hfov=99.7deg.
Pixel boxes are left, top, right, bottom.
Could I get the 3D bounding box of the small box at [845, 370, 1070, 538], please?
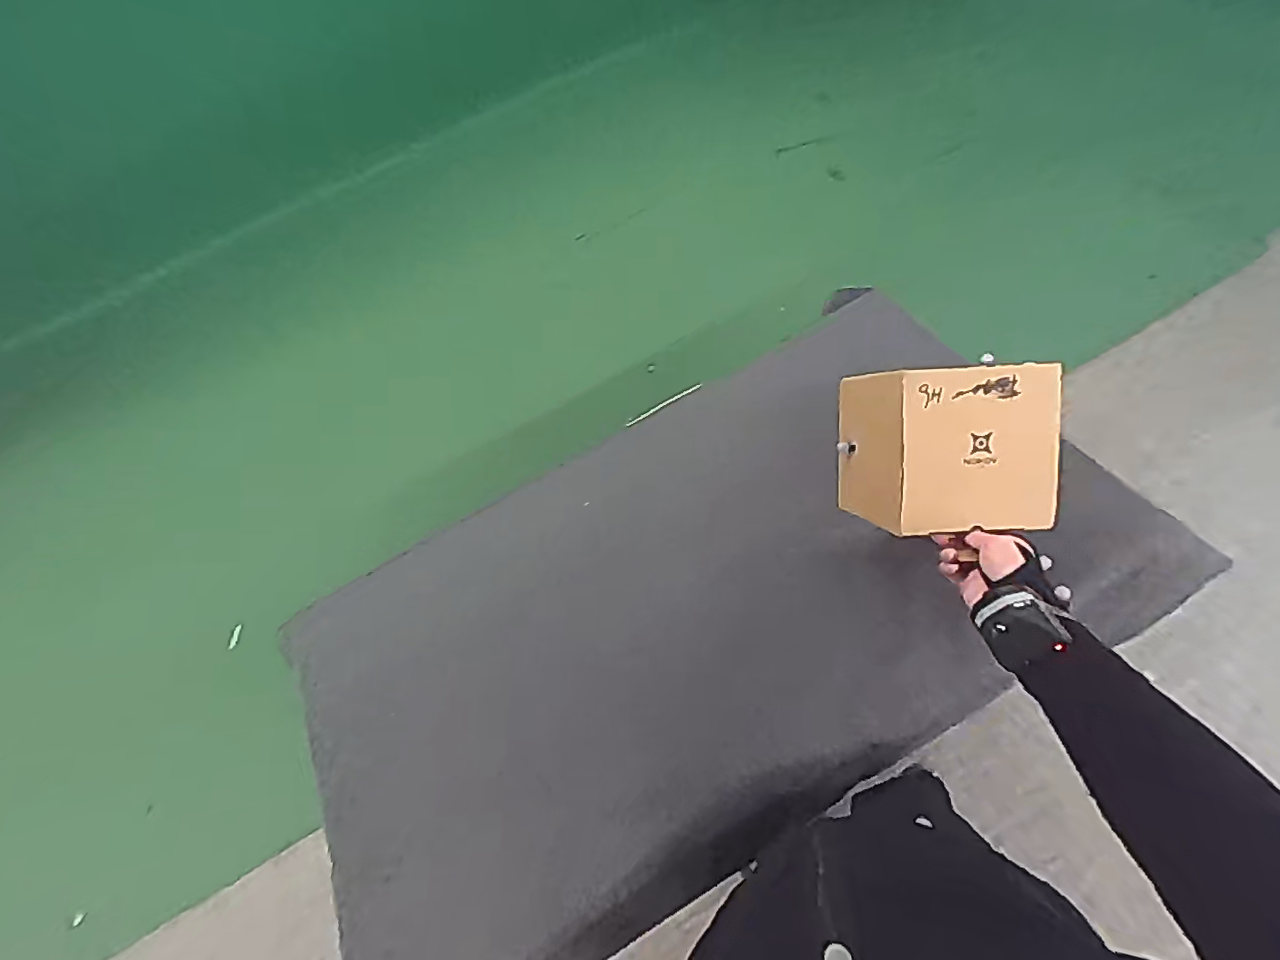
[{"bbox_3d":[0.358,-0.039,0.644,0.168,0.176,0.179,-2,99,-1],"label":"small box"}]
